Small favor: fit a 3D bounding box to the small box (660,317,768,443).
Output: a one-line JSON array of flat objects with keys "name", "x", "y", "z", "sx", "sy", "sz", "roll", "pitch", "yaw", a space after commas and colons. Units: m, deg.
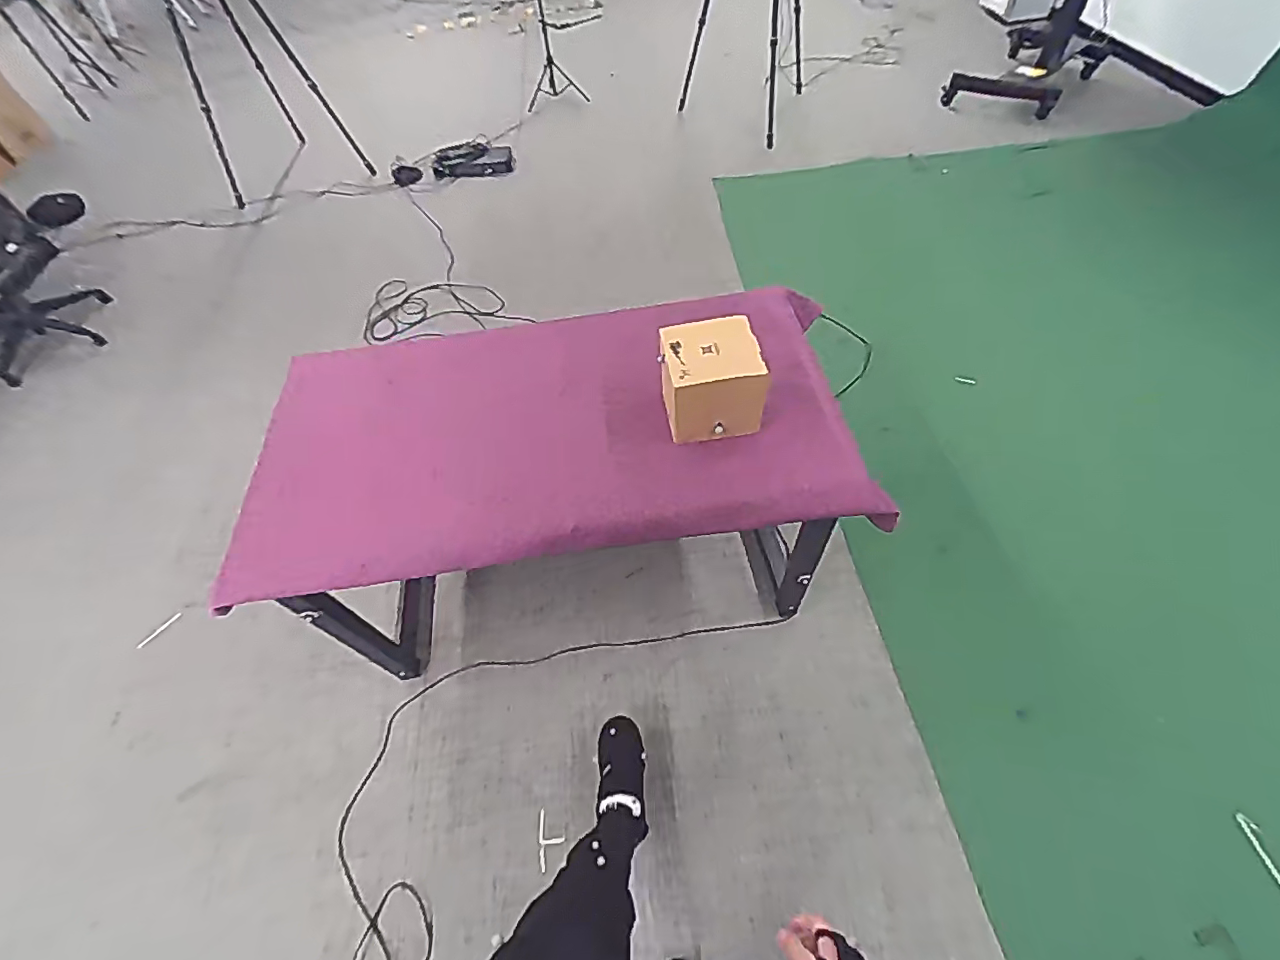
[{"name": "small box", "x": 0.136, "y": -0.193, "z": 1.068, "sx": 0.179, "sy": 0.176, "sz": 0.168, "roll": -8, "pitch": 55, "yaw": -2}]
